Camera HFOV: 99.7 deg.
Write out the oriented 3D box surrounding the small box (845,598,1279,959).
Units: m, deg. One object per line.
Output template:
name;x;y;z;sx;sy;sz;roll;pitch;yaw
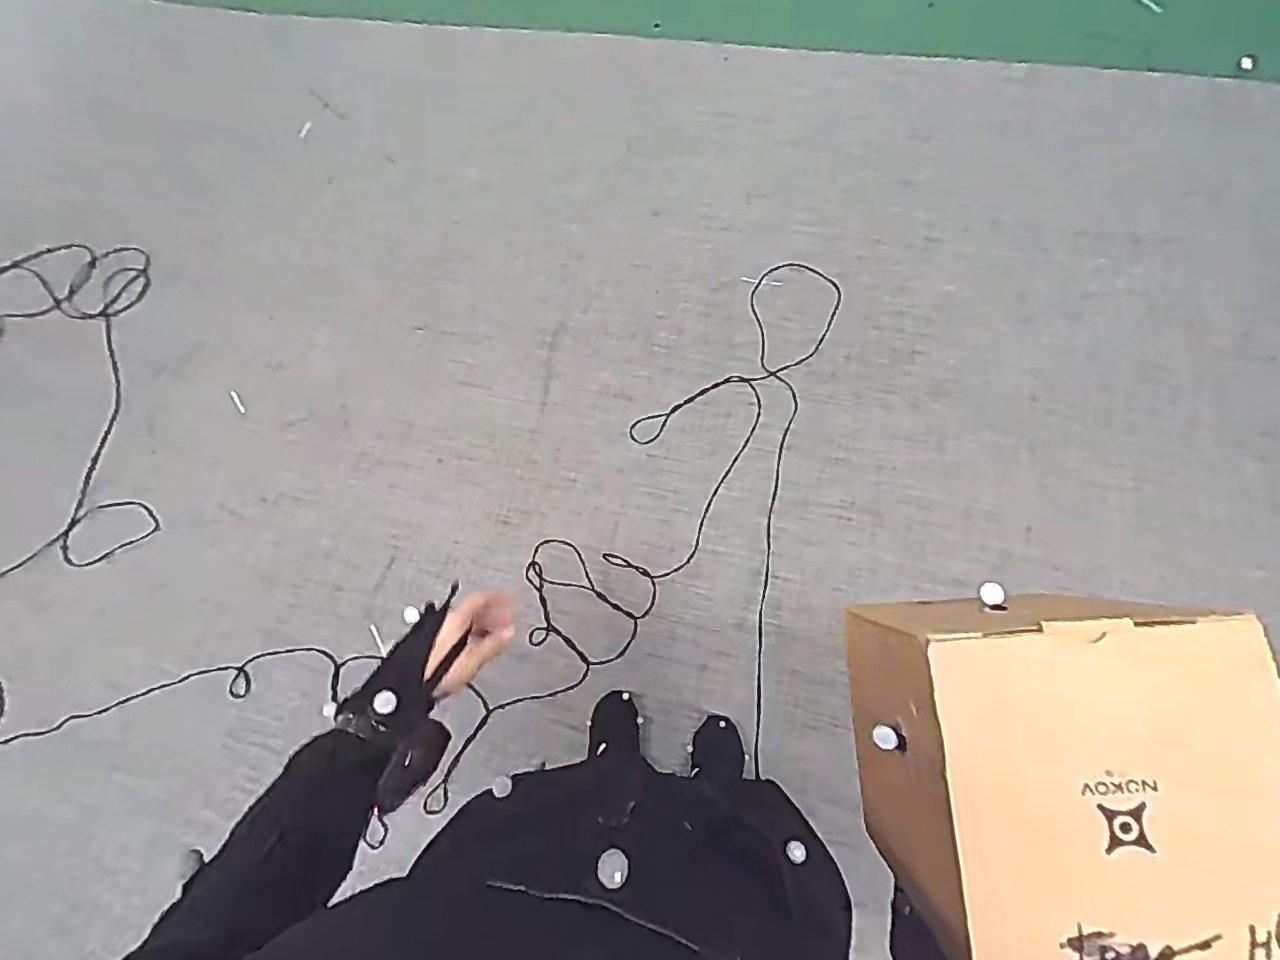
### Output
small box;0.247;0.172;0.354;0.168;0.176;0.179;-6;81;5
